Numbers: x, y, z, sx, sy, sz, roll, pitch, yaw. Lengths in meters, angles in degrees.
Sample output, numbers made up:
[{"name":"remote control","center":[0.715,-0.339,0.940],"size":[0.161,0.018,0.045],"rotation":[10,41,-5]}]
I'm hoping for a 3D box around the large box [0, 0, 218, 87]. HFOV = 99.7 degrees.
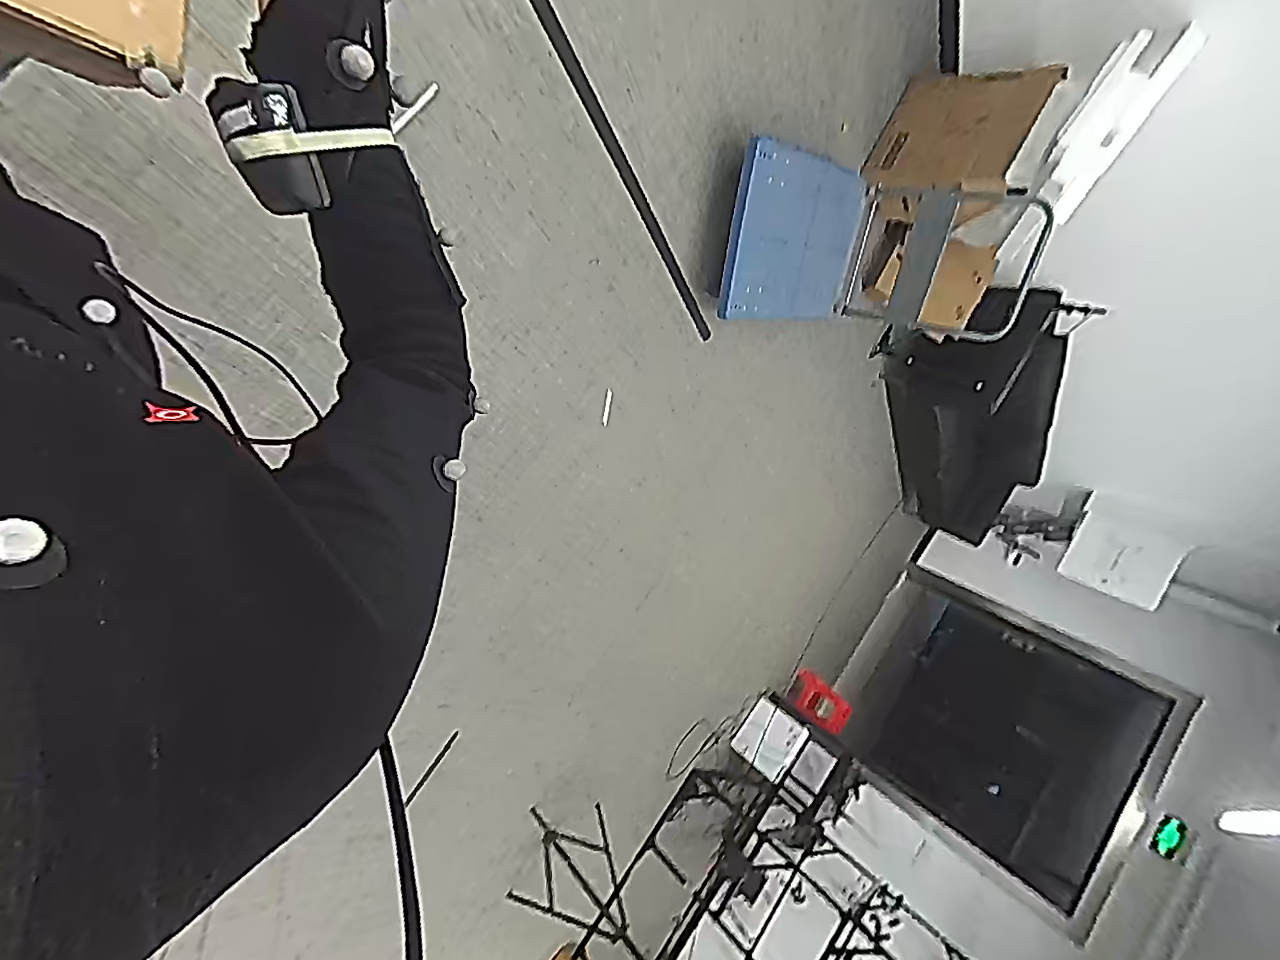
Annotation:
[{"name":"large box","center":[-0.371,-0.448,0.194],"size":[0.320,0.320,0.408],"rotation":[-2,118,-50]}]
